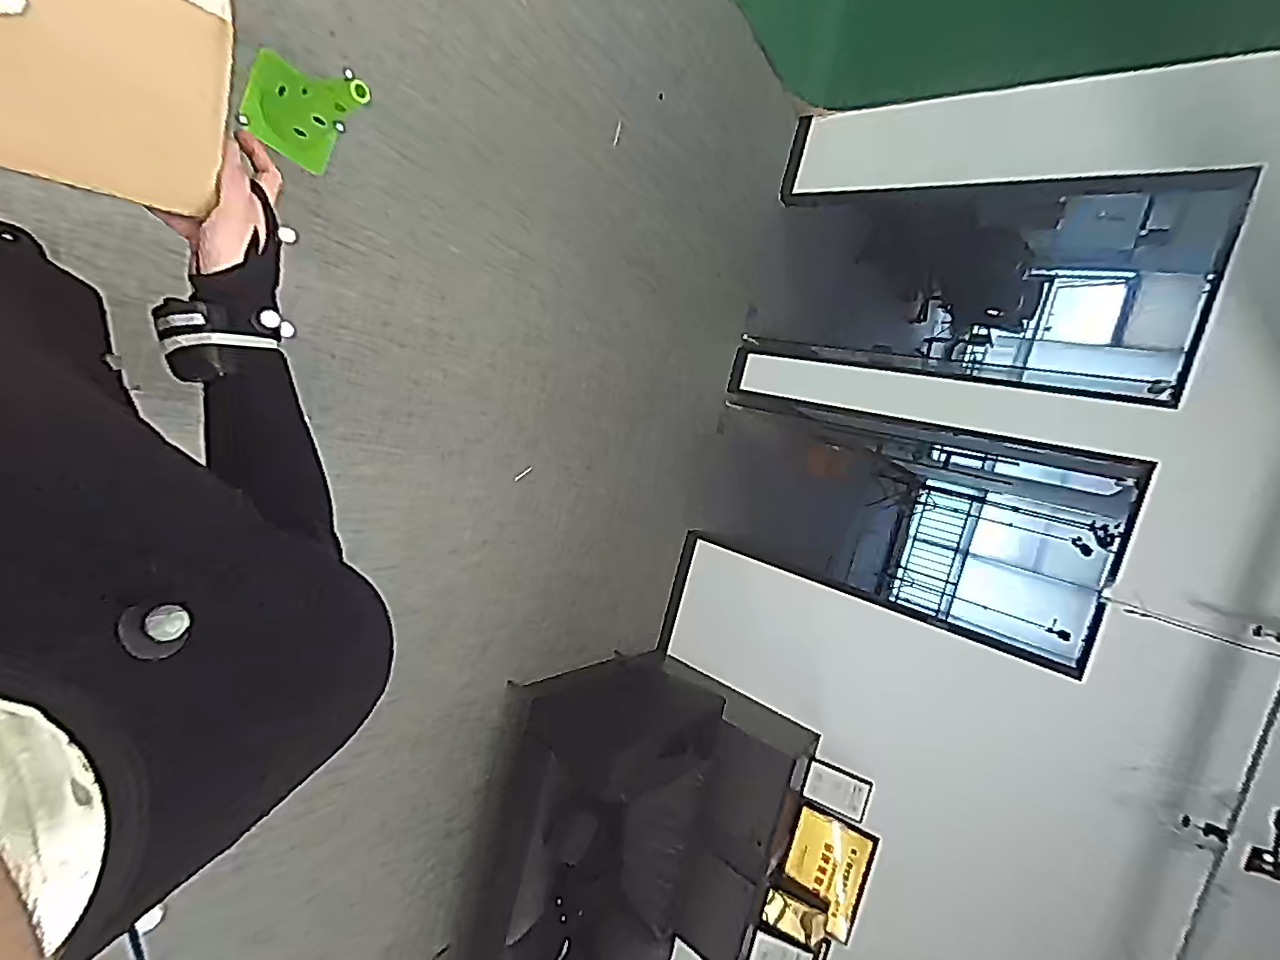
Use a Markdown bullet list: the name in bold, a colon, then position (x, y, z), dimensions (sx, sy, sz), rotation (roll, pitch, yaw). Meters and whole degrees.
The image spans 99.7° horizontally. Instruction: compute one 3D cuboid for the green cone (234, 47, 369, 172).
- **green cone**: position (-0.724, -0.863, 1.232), dimensions (0.200, 0.368, 0.202), rotation (19, 88, -56)
